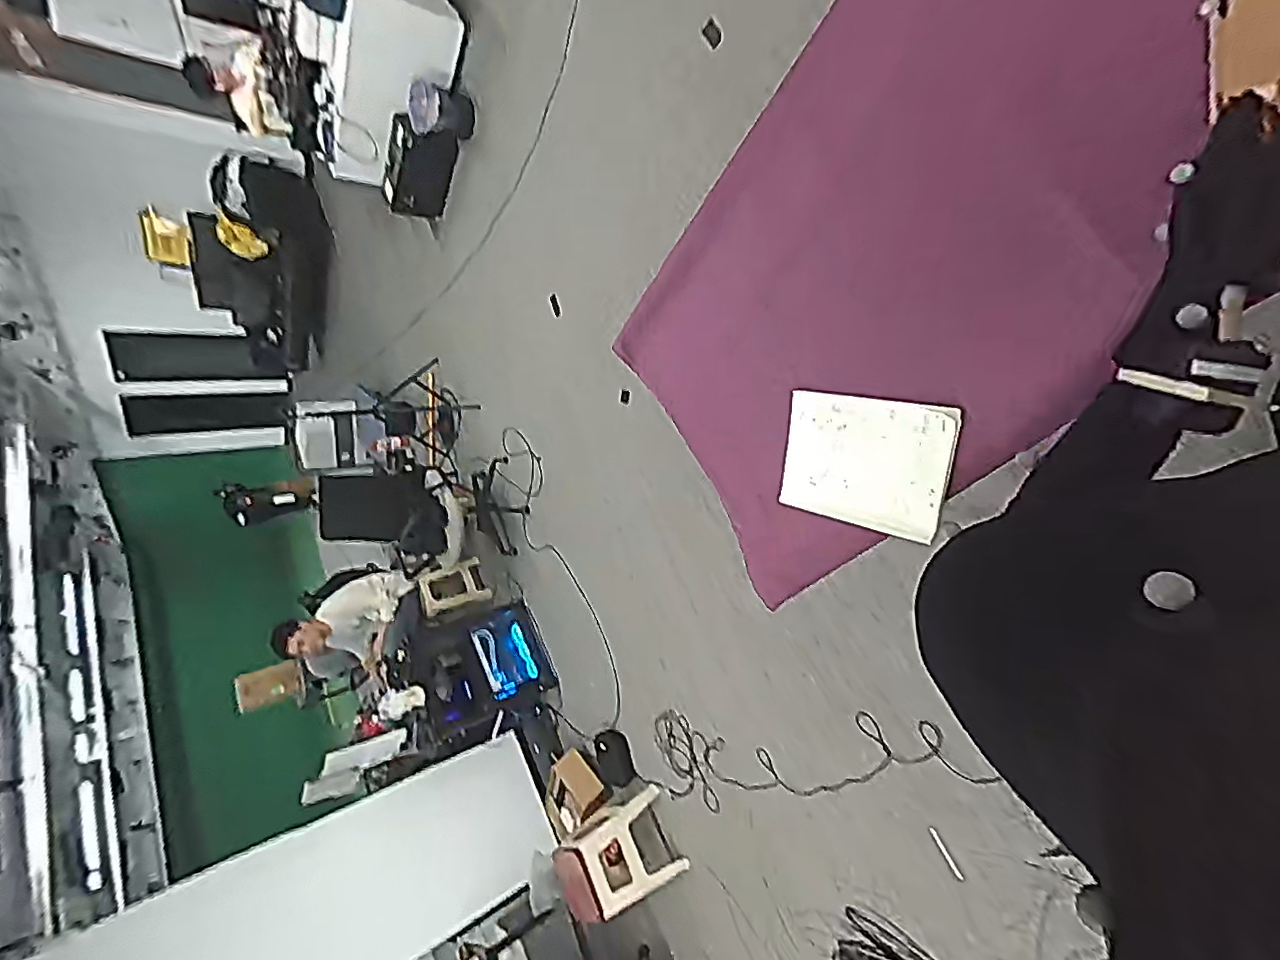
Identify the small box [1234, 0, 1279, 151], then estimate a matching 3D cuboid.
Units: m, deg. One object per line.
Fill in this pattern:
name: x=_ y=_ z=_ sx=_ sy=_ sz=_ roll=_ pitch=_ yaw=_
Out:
small box: x=0.526 y=-0.328 z=0.339 sx=0.179 sy=0.176 sz=0.168 roll=-9 pitch=113 yaw=32
